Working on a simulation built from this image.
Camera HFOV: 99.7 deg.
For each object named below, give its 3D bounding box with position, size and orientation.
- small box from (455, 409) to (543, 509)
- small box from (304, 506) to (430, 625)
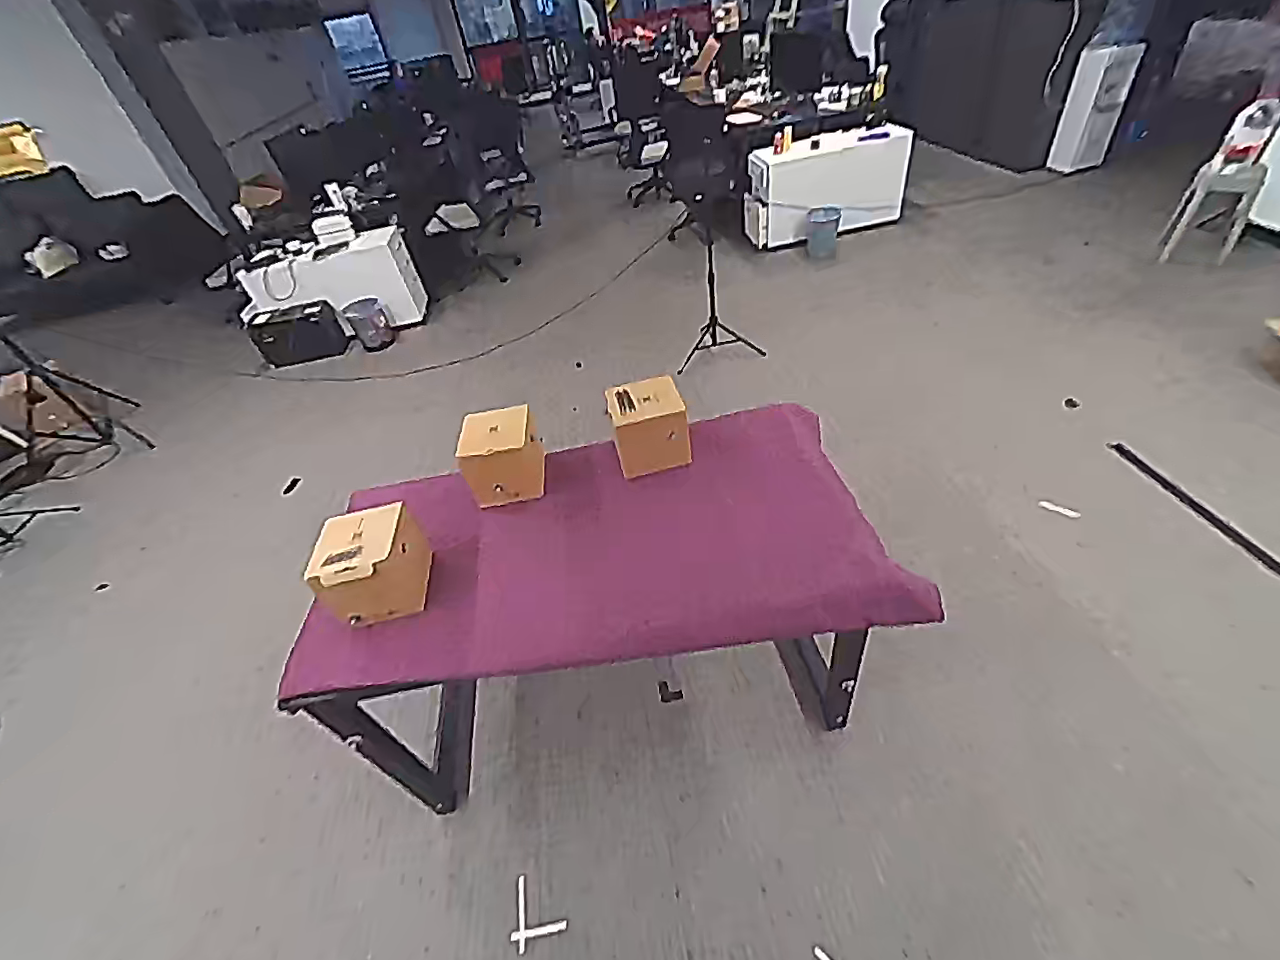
[{"bbox_3d":[-0.346,-0.053,1.359,0.168,0.176,0.179,-10,42,1],"label":"small box"},{"bbox_3d":[-0.564,0.187,1.147,0.168,0.176,0.179,-13,40,-2],"label":"small box"}]
